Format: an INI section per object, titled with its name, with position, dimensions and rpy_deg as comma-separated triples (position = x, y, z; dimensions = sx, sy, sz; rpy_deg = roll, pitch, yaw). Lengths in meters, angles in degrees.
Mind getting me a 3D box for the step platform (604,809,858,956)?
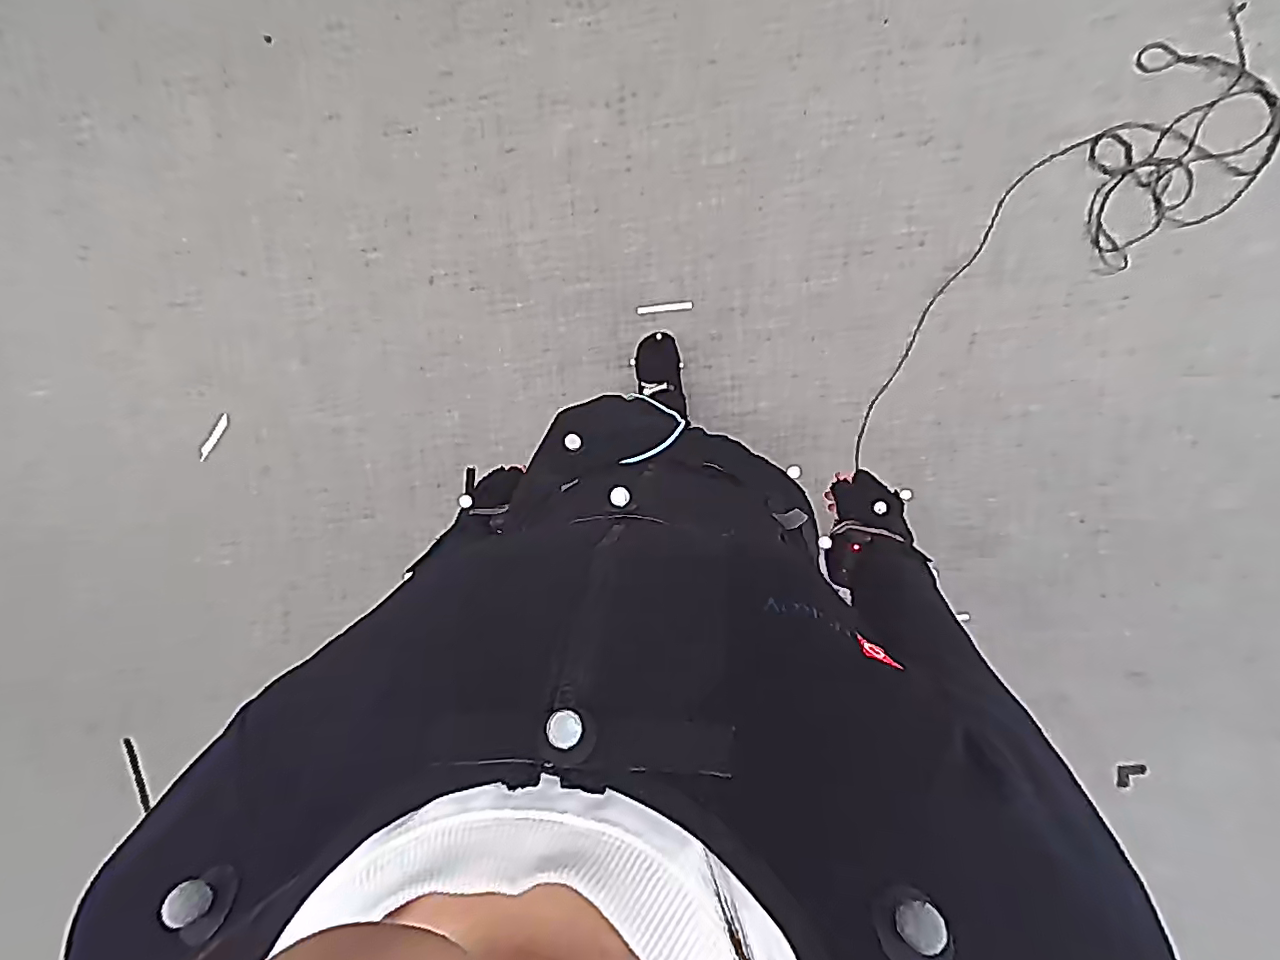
[step platform]
position = 0.242, 1.125, 1.511
dimensions = 0.684, 0.204, 0.286
rpy_deg = -6, 98, 8
